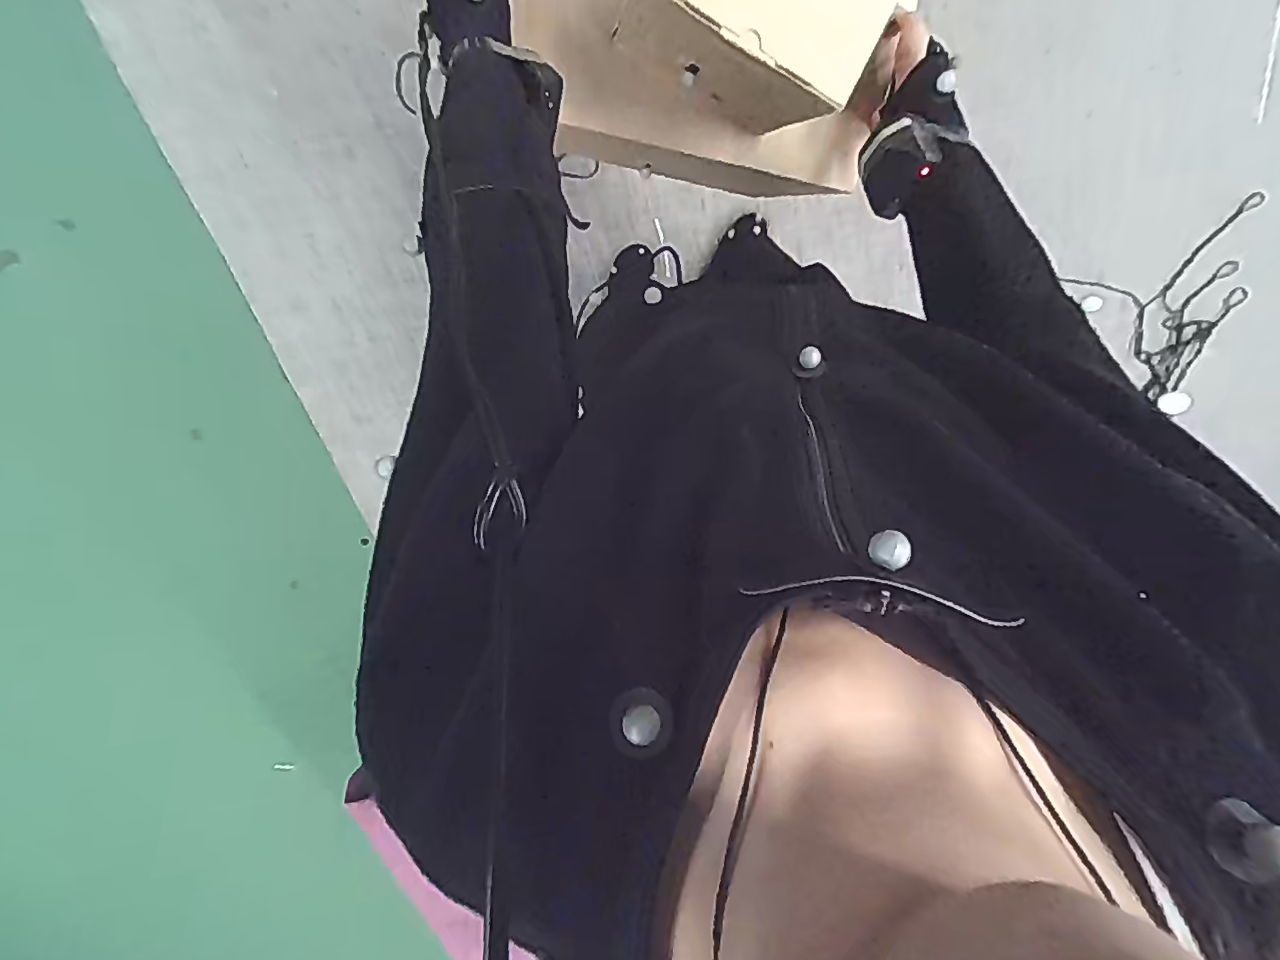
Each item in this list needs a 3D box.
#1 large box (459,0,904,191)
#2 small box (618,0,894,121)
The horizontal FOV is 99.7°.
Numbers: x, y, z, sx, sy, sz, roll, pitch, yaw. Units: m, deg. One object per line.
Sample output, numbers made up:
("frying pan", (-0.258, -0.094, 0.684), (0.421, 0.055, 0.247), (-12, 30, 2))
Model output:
("large box", (0.035, -0.526, 0.601), (0.408, 0.320, 0.320), (6, 114, -11))
("small box", (0.092, -0.400, 0.396), (0.168, 0.176, 0.179), (18, 114, -18))
